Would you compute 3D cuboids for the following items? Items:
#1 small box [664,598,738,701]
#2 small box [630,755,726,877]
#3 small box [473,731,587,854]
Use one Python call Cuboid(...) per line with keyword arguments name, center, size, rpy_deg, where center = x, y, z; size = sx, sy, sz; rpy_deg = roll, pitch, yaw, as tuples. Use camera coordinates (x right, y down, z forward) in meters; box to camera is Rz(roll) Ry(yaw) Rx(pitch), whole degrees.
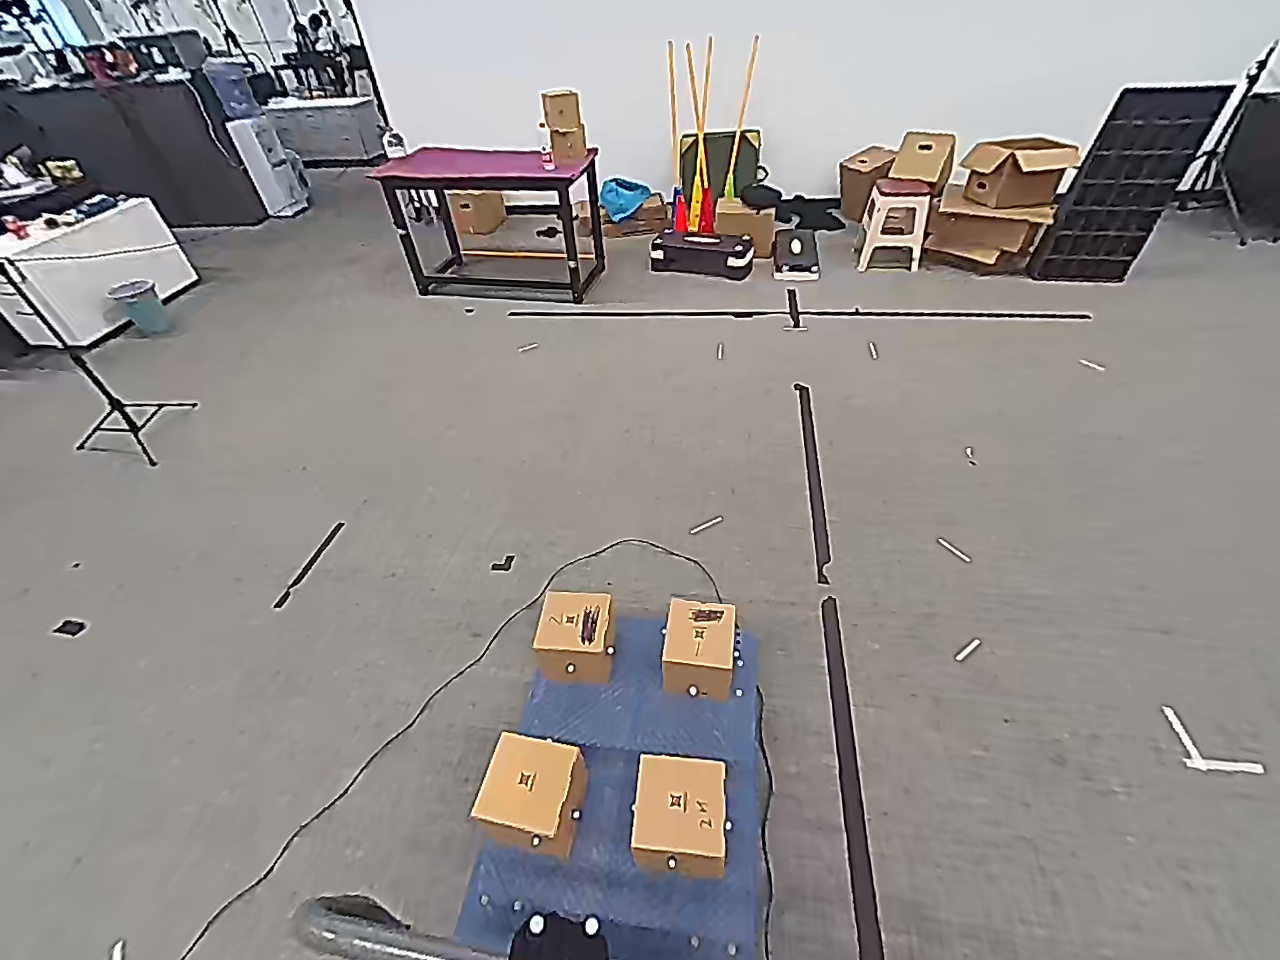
Cuboid(name="small box", center=(0.154, 0.427, 1.363), size=(0.168, 0.176, 0.179), rpy_deg=(5, 45, 10))
Cuboid(name="small box", center=(0.083, 0.682, 1.097), size=(0.179, 0.176, 0.168), rpy_deg=(2, 44, 7))
Cuboid(name="small box", center=(-0.223, 0.663, 1.143), size=(0.179, 0.176, 0.168), rpy_deg=(7, 44, 10))
